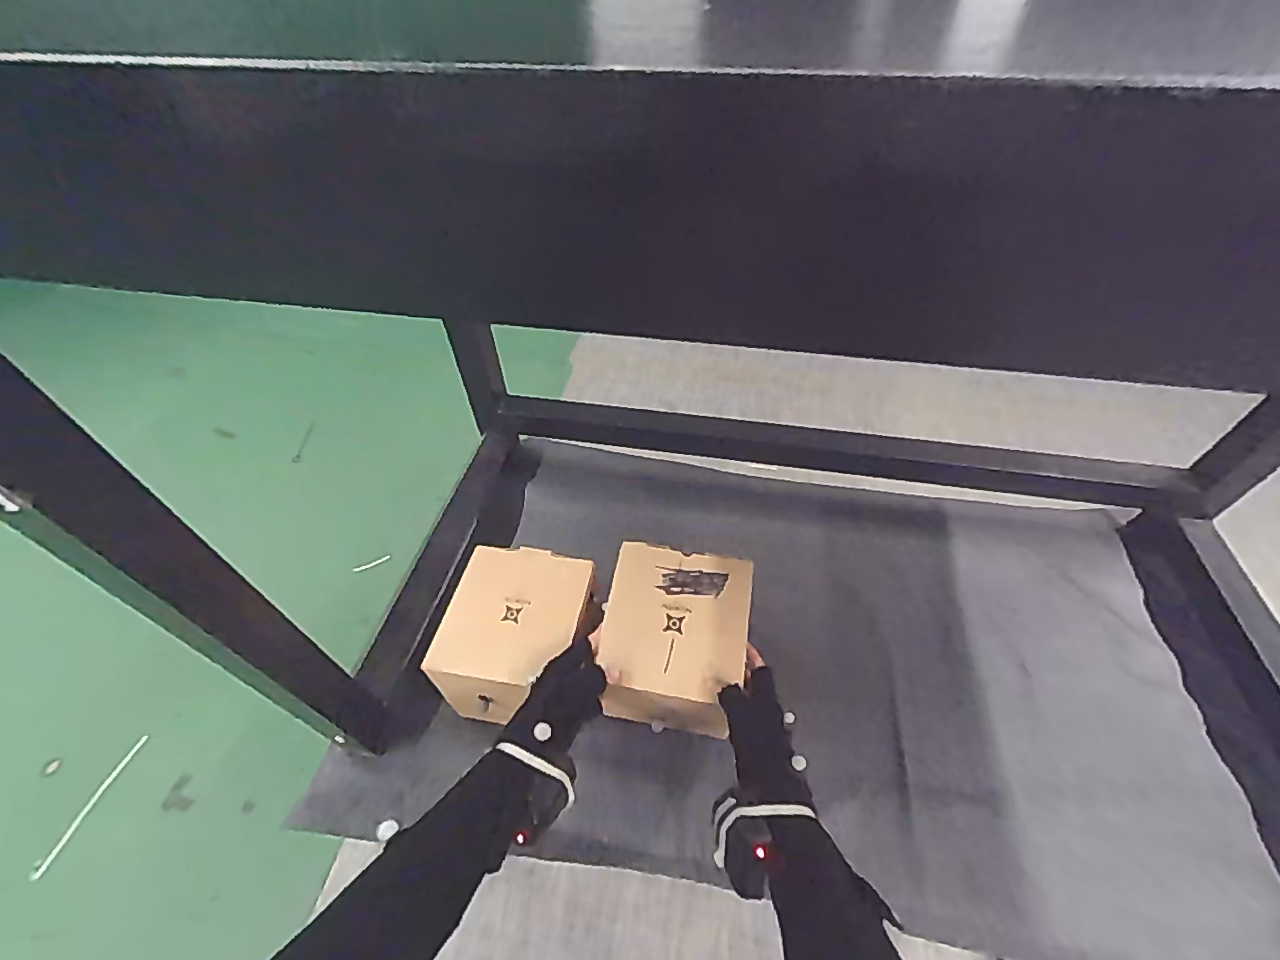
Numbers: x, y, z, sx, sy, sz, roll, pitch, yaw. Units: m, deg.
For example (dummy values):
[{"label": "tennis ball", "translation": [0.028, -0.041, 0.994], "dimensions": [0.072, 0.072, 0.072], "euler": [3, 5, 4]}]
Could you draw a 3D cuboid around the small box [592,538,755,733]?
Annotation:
[{"label": "small box", "translation": [0.045, 0.199, 0.684], "dimensions": [0.168, 0.176, 0.179], "euler": [8, 56, 8]}]

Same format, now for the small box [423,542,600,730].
[{"label": "small box", "translation": [-0.151, 0.209, 0.717], "dimensions": [0.168, 0.176, 0.179], "euler": [7, 48, 7]}]
